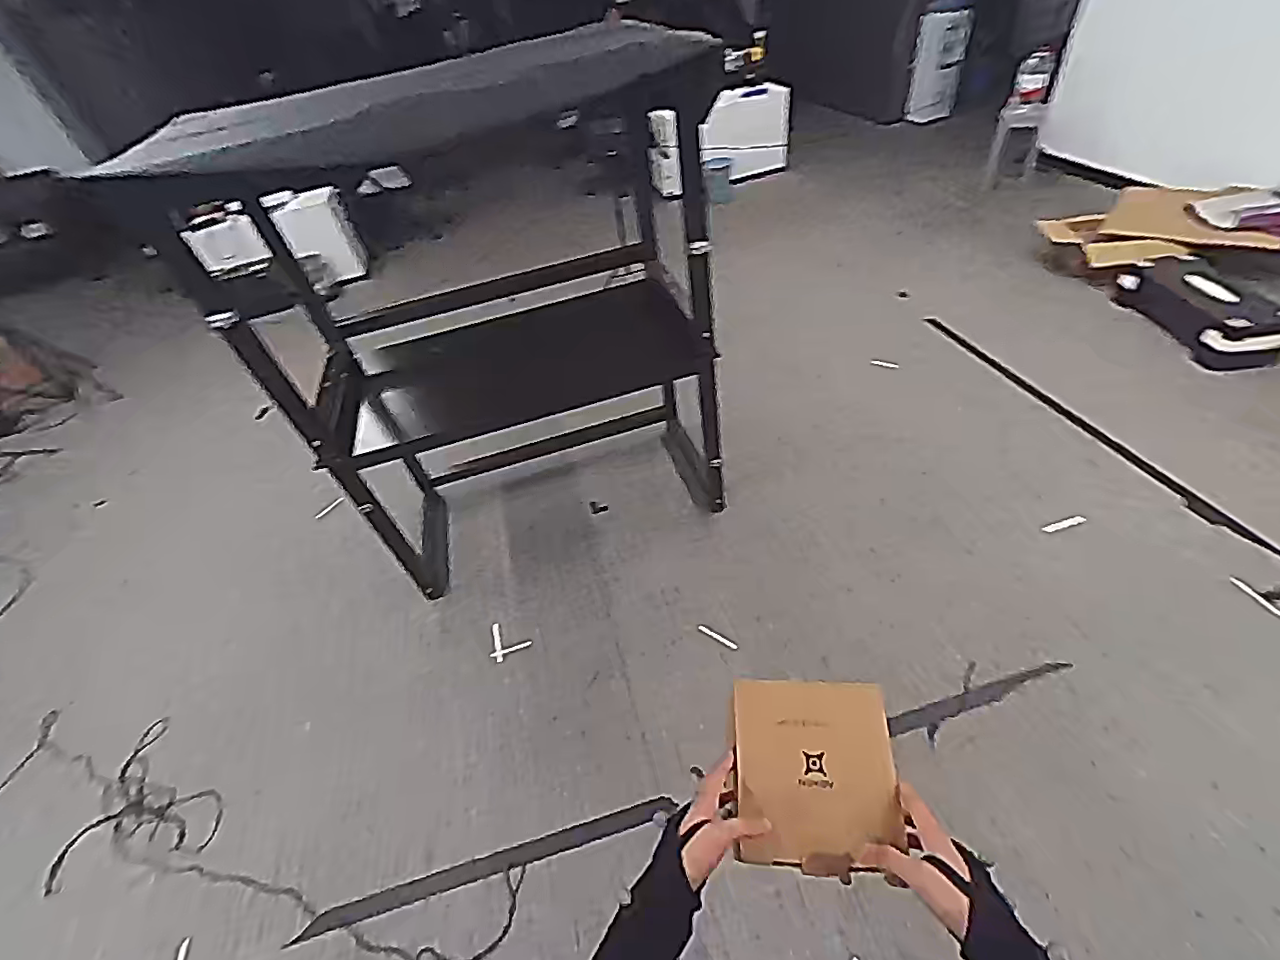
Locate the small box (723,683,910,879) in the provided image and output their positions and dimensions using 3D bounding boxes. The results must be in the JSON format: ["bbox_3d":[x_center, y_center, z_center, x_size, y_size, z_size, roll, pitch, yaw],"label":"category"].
[{"bbox_3d":[0.187,0.347,0.633,0.168,0.176,0.179,0,58,3],"label":"small box"}]
